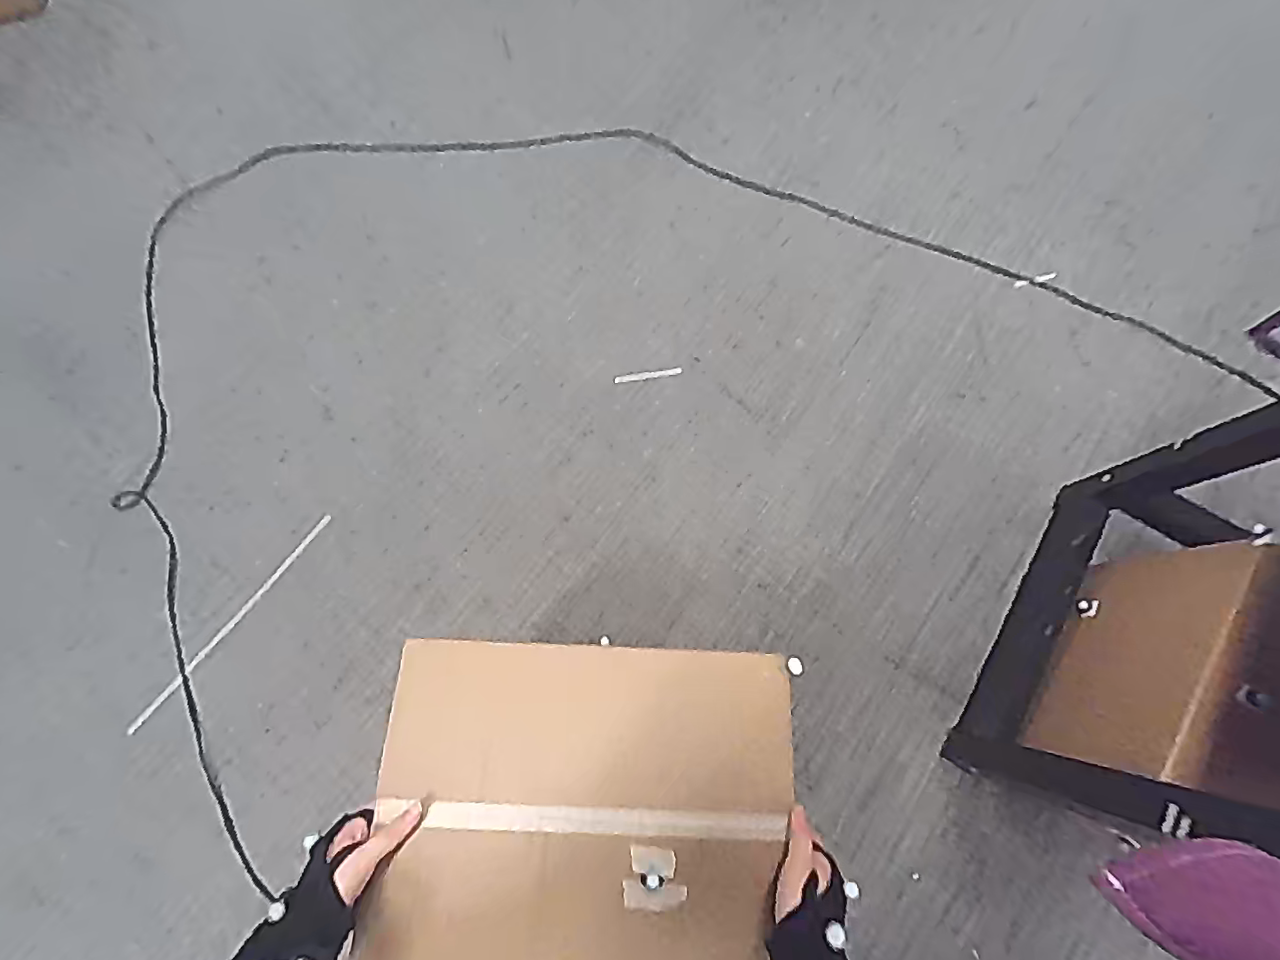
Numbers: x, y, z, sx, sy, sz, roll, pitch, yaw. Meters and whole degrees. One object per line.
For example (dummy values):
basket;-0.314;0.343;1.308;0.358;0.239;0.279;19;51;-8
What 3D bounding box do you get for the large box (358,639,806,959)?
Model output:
large box;-0.050;0.369;0.654;0.408;0.320;0.320;3;72;0
